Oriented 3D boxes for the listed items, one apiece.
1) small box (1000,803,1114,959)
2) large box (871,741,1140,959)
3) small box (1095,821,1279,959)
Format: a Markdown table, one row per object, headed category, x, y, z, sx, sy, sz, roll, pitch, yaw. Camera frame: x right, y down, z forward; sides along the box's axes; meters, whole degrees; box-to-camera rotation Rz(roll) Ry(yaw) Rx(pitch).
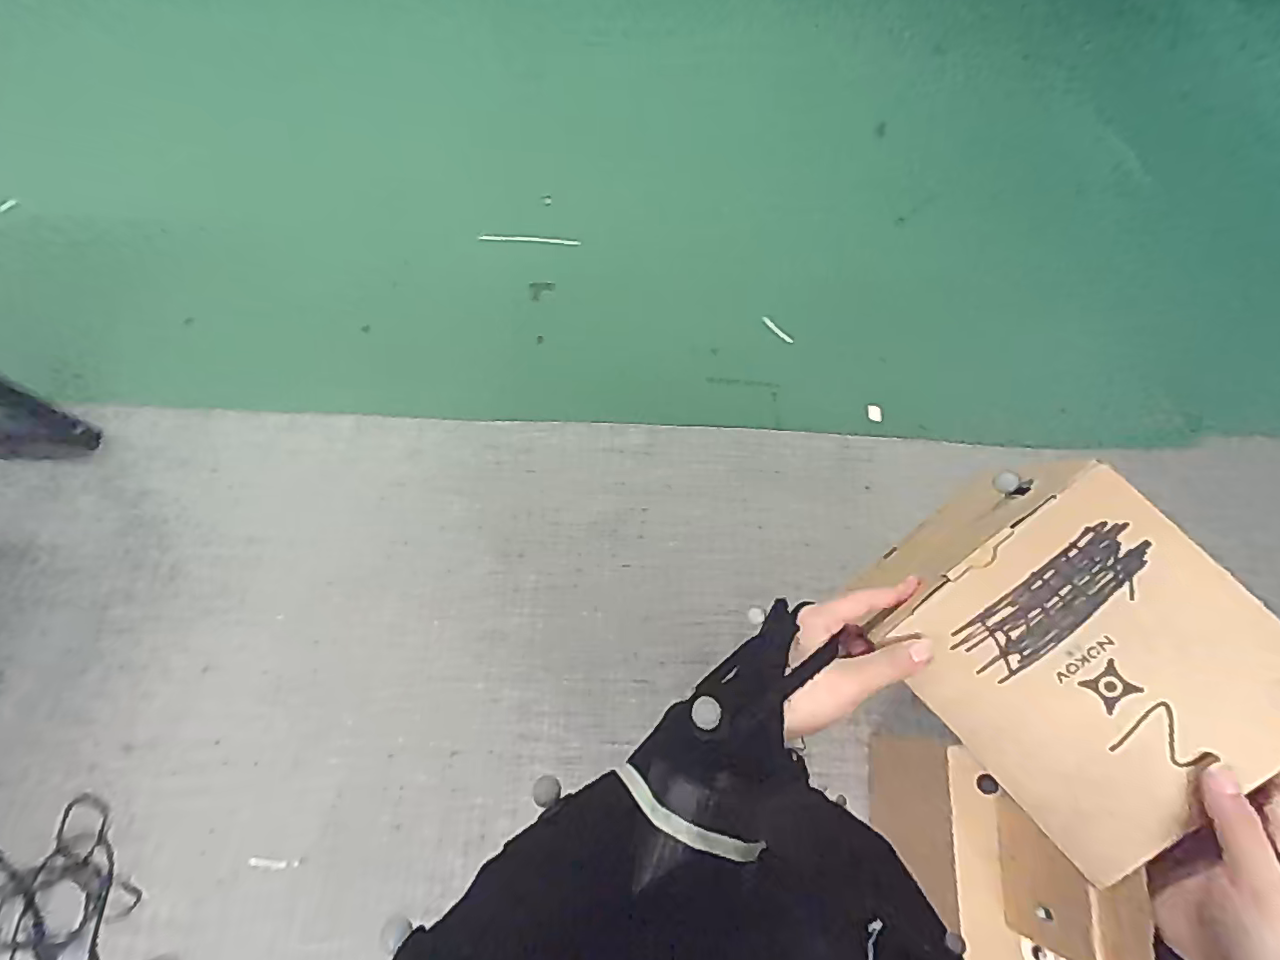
| category | x | y | z | sx | sy | sz | roll | pitch | yaw |
| --- | --- | --- | --- | --- | --- | --- | --- | --- | --- |
| small box | 0.642 | 0.573 | 0.754 | 0.168 | 0.176 | 0.179 | 10 | 65 | 0 |
| large box | 0.632 | 0.708 | 0.960 | 0.320 | 0.320 | 0.408 | 8 | 67 | 2 |
| small box | 0.665 | 0.505 | 0.608 | 0.168 | 0.176 | 0.179 | 9 | 67 | 0 |
